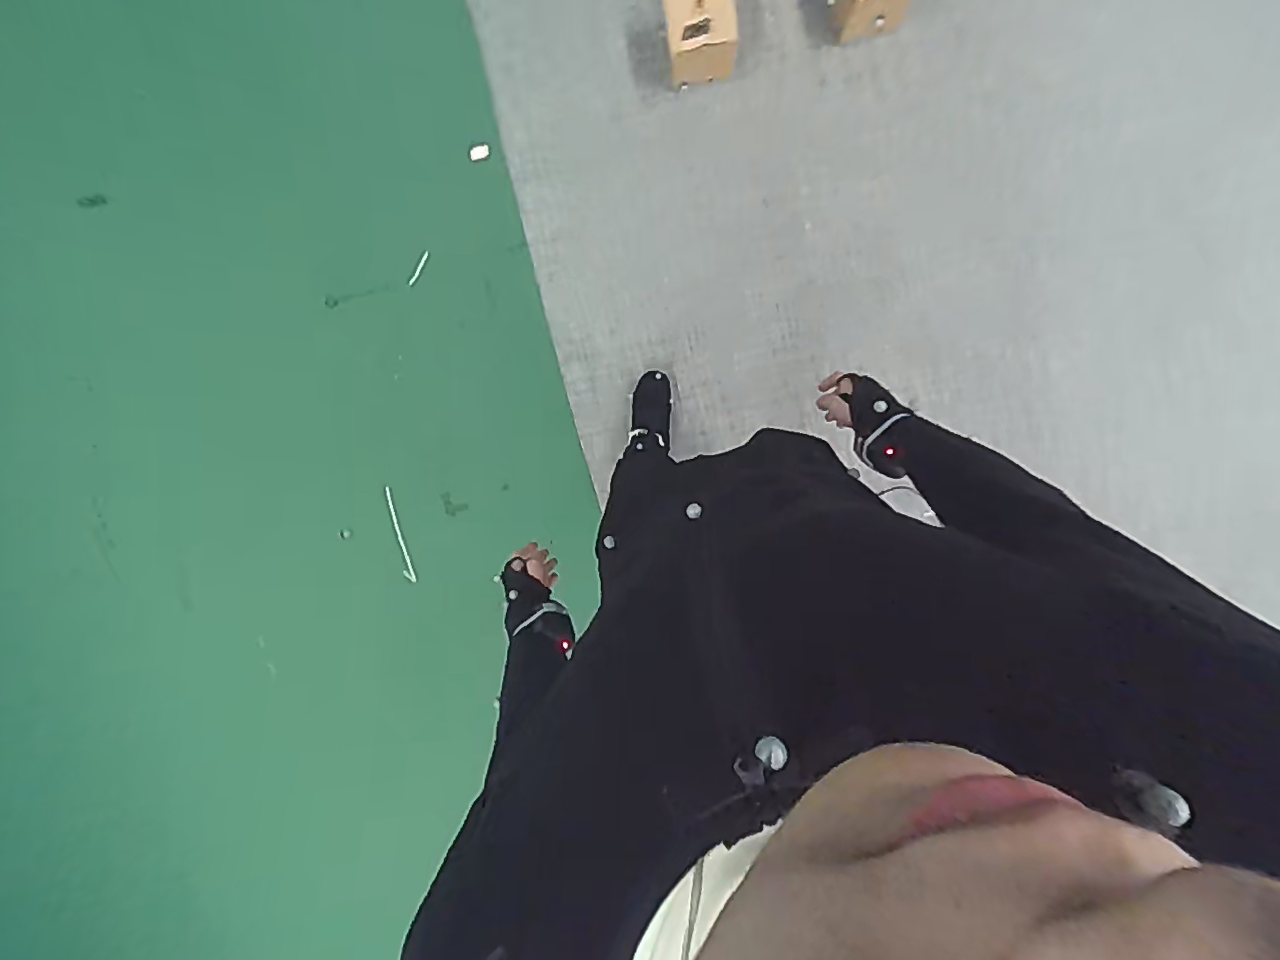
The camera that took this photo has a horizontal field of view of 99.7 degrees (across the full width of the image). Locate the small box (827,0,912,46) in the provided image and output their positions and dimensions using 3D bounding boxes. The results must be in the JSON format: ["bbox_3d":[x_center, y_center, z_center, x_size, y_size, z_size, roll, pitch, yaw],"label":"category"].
[{"bbox_3d":[0.570,-1.222,1.337,0.168,0.176,0.179,-11,98,6],"label":"small box"}]

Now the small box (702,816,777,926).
[{"bbox_3d":[0.273,1.085,1.510,0.168,0.176,0.179,-14,97,5],"label":"small box"}]

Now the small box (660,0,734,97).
[{"bbox_3d":[0.146,-1.133,1.401,0.168,0.176,0.179,-8,97,5],"label":"small box"}]
